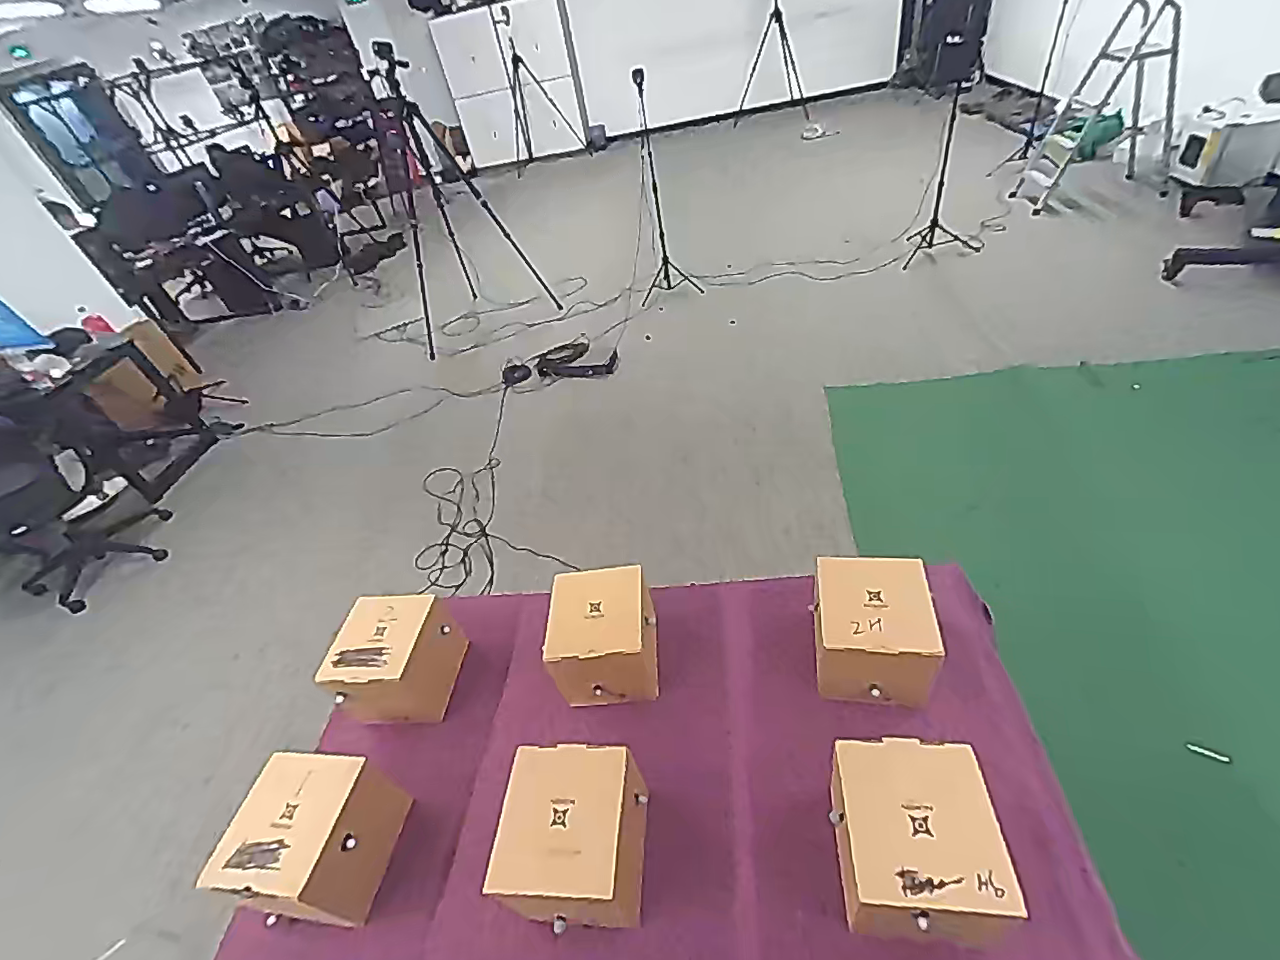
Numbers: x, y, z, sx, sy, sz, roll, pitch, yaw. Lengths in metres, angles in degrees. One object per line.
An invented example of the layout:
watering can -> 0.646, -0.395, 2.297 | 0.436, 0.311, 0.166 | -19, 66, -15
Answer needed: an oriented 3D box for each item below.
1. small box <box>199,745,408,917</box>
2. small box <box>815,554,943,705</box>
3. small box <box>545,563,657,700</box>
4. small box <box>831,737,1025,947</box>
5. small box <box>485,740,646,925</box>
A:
small box -> -0.483, 0.527, 0.812 | 0.168, 0.176, 0.179 | -2, 41, 12
small box -> 0.382, 0.245, 0.898 | 0.168, 0.176, 0.179 | -1, 44, 15
small box -> -0.062, 0.276, 0.983 | 0.168, 0.176, 0.179 | -7, 43, 6
small box -> 0.340, 0.452, 0.682 | 0.168, 0.176, 0.179 | -4, 41, 12
small box -> -0.088, 0.489, 0.756 | 0.168, 0.176, 0.179 | -4, 42, 11
